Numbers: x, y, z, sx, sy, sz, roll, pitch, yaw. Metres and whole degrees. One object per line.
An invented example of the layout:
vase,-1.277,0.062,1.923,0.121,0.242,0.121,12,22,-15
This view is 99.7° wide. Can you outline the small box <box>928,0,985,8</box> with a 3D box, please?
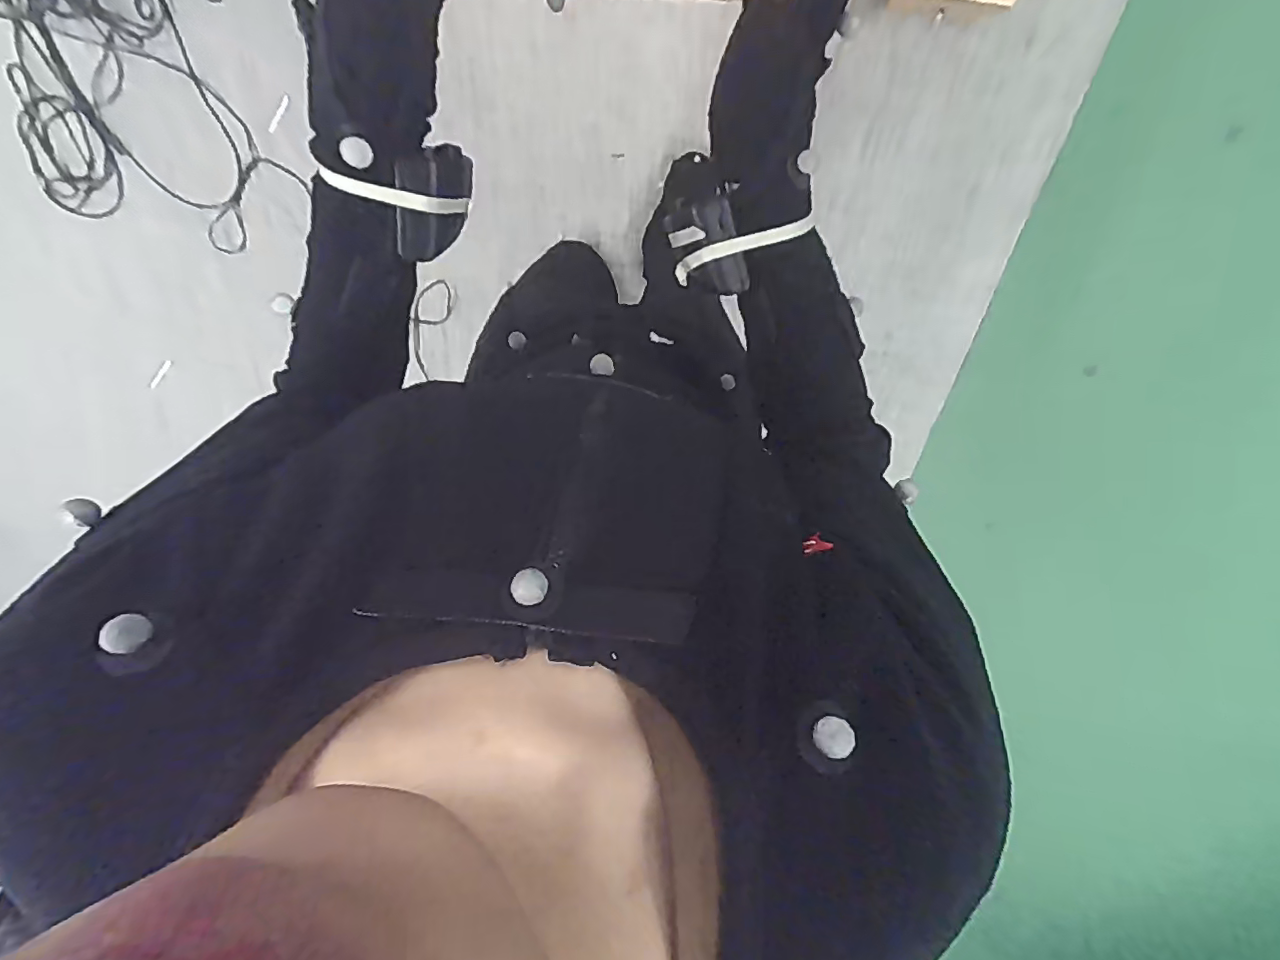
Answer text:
small box,0.533,-0.904,0.882,0.168,0.176,0.179,9,124,0
